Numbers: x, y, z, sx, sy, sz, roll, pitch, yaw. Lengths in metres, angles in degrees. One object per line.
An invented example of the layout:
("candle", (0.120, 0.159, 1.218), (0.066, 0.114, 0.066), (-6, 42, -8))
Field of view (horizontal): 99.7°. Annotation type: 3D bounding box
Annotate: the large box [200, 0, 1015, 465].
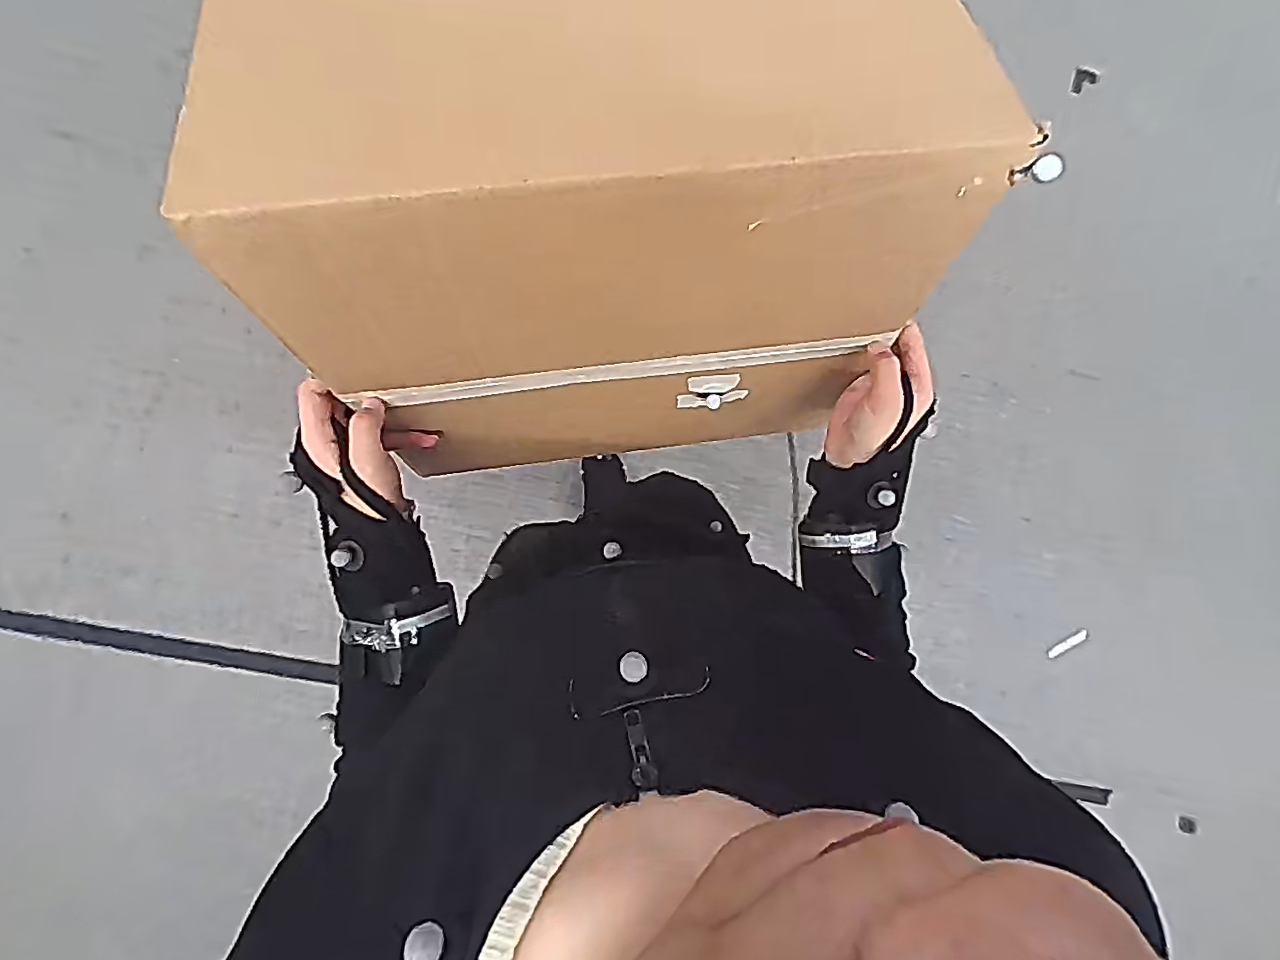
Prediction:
("large box", (-0.033, -0.233, 0.447), (0.408, 0.320, 0.320), (-8, 71, -5))
